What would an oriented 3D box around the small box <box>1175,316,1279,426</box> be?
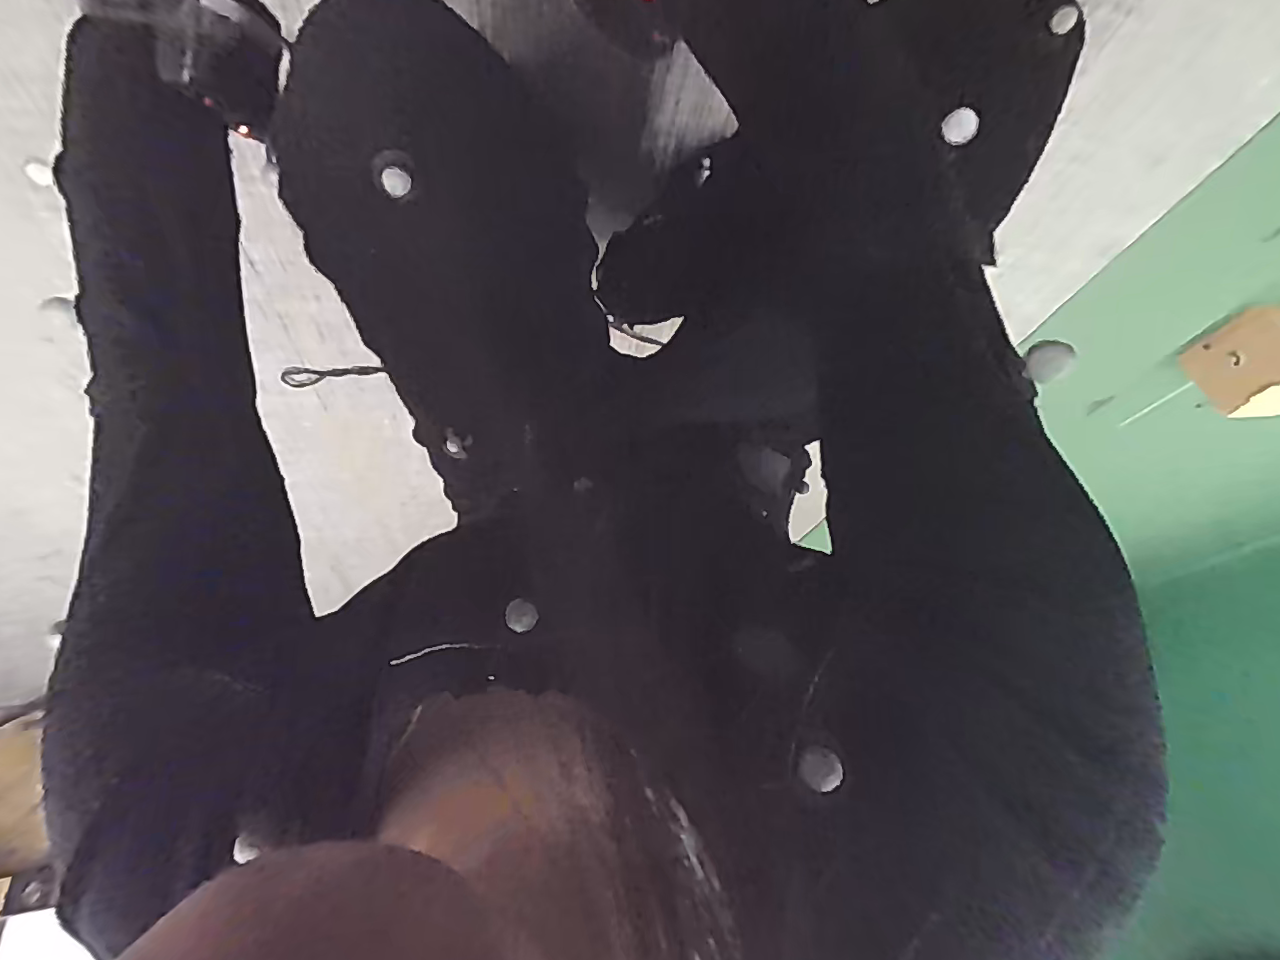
[{"bbox_3d":[1.327,-0.232,1.156,0.179,0.176,0.168,-2,151,-13],"label":"small box"}]
